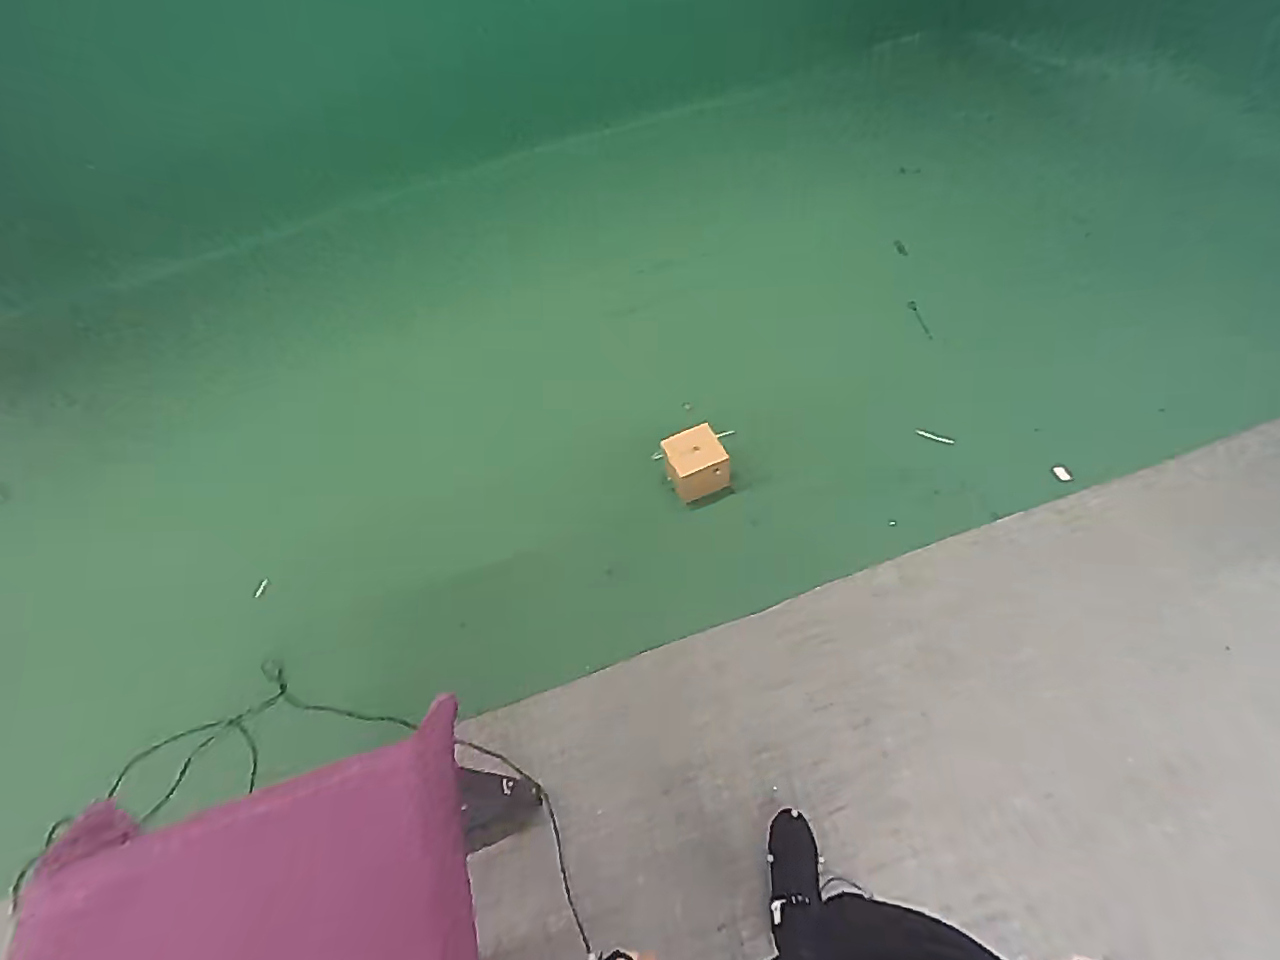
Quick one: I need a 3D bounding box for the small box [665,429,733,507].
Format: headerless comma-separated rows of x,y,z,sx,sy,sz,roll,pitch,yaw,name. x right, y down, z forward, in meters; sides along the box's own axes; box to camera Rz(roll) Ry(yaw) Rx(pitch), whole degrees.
0.200,-0.037,1.825,0.179,0.176,0.168,-23,56,-5,small box
